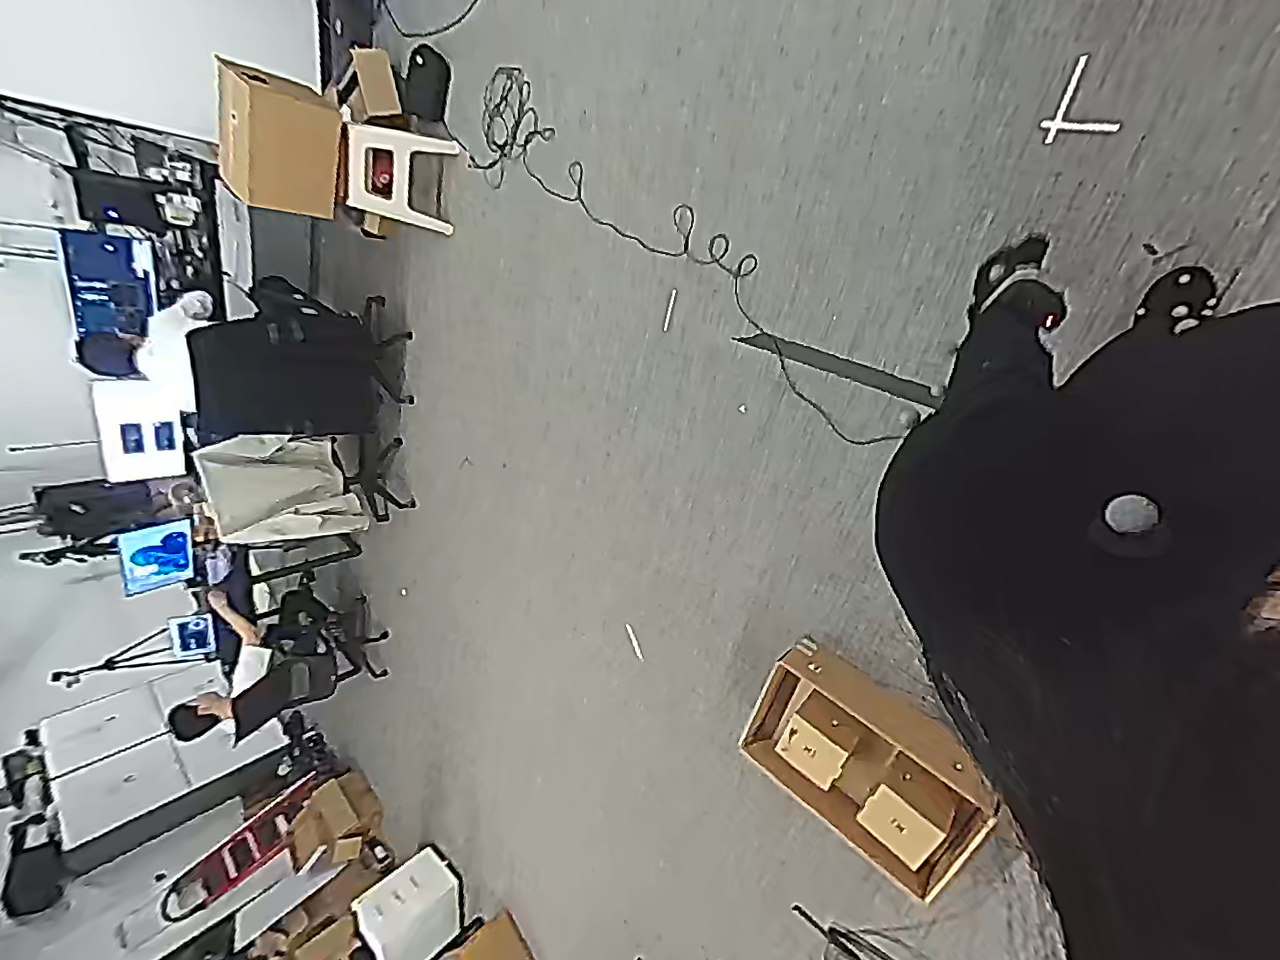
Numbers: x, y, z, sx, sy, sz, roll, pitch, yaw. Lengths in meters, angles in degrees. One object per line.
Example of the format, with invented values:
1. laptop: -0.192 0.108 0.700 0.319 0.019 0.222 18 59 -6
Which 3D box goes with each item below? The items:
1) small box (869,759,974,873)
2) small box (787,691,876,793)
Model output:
1. small box: 0.762 0.894 1.462 0.179 0.176 0.168 34 122 31
2. small box: 0.572 0.766 1.602 0.179 0.176 0.168 31 119 29
